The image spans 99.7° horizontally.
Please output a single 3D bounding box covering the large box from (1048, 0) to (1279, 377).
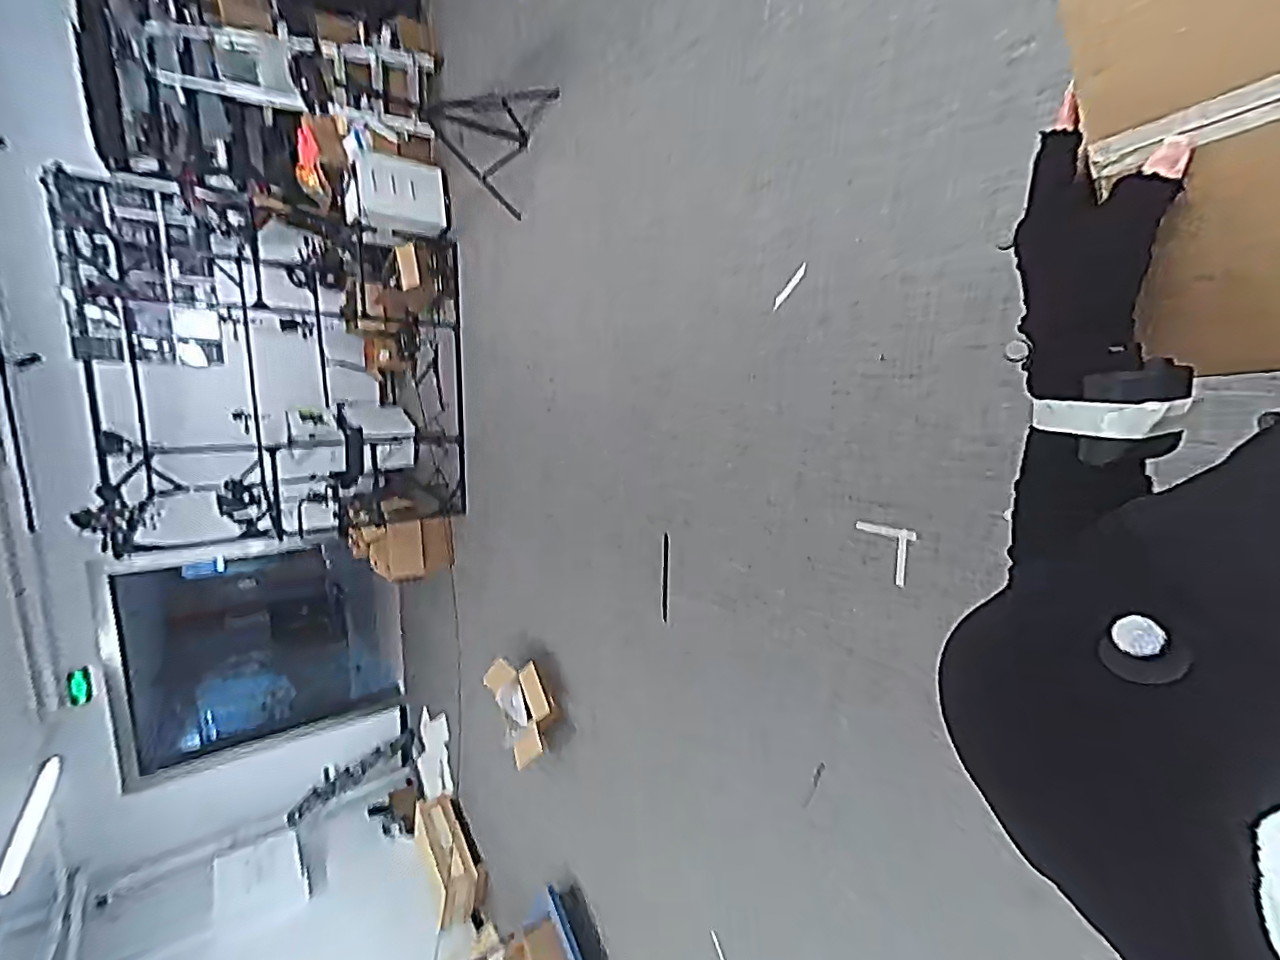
[{"bbox_3d":[0.484,-0.280,0.235,0.408,0.320,0.320,4,133,56],"label":"large box"}]
